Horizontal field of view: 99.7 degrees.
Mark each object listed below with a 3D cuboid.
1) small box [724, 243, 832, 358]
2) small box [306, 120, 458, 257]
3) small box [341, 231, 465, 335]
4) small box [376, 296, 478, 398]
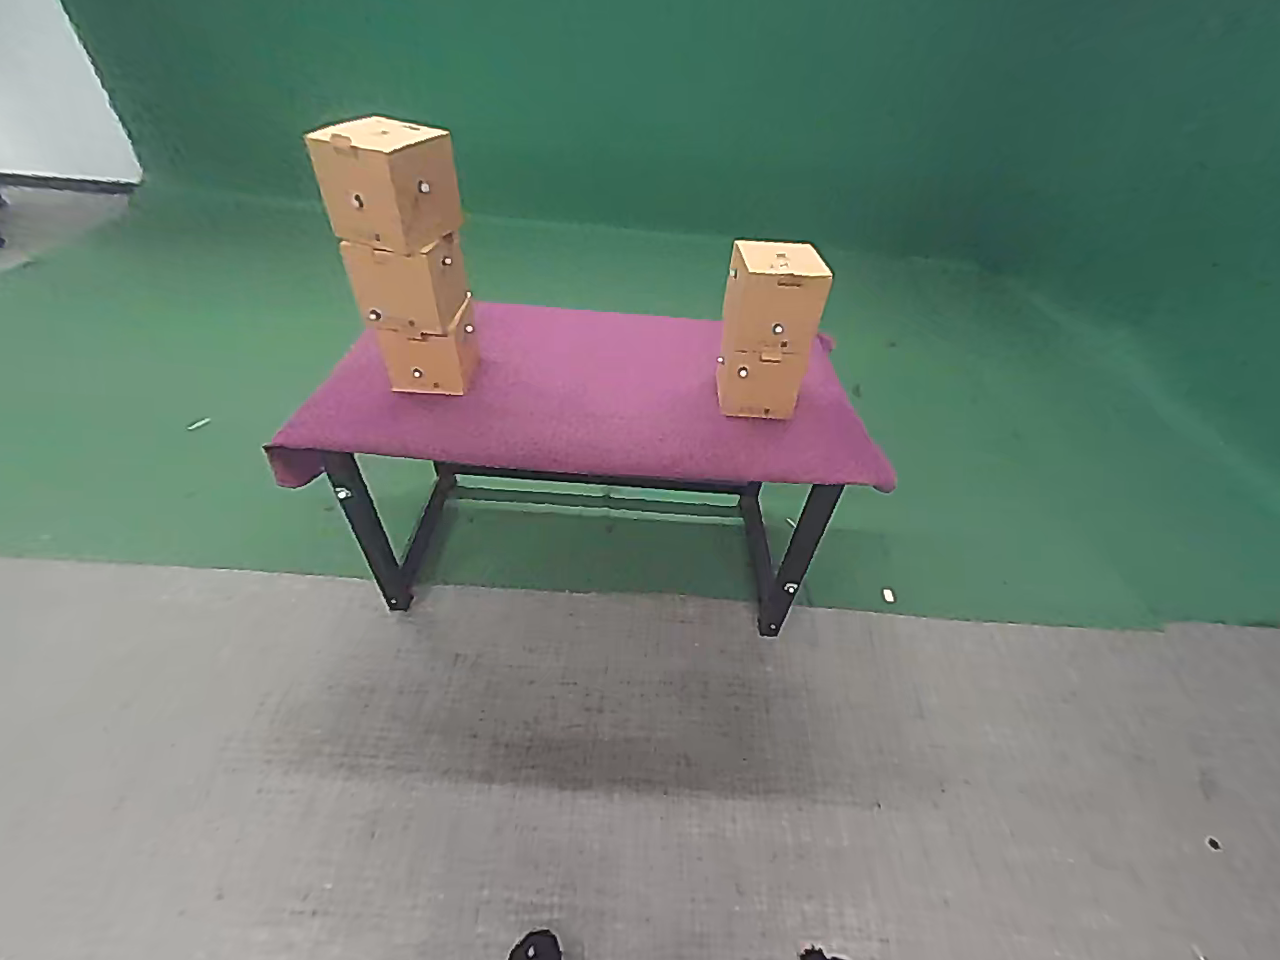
[{"bbox_3d":[0.278,-0.379,1.140,0.168,0.176,0.179,2,44,-3],"label":"small box"},{"bbox_3d":[-0.457,-0.535,0.994,0.168,0.176,0.179,19,48,12],"label":"small box"},{"bbox_3d":[-0.470,-0.416,1.107,0.168,0.176,0.179,7,44,0],"label":"small box"},{"bbox_3d":[-0.474,-0.310,1.234,0.168,0.176,0.179,3,45,-3],"label":"small box"}]
